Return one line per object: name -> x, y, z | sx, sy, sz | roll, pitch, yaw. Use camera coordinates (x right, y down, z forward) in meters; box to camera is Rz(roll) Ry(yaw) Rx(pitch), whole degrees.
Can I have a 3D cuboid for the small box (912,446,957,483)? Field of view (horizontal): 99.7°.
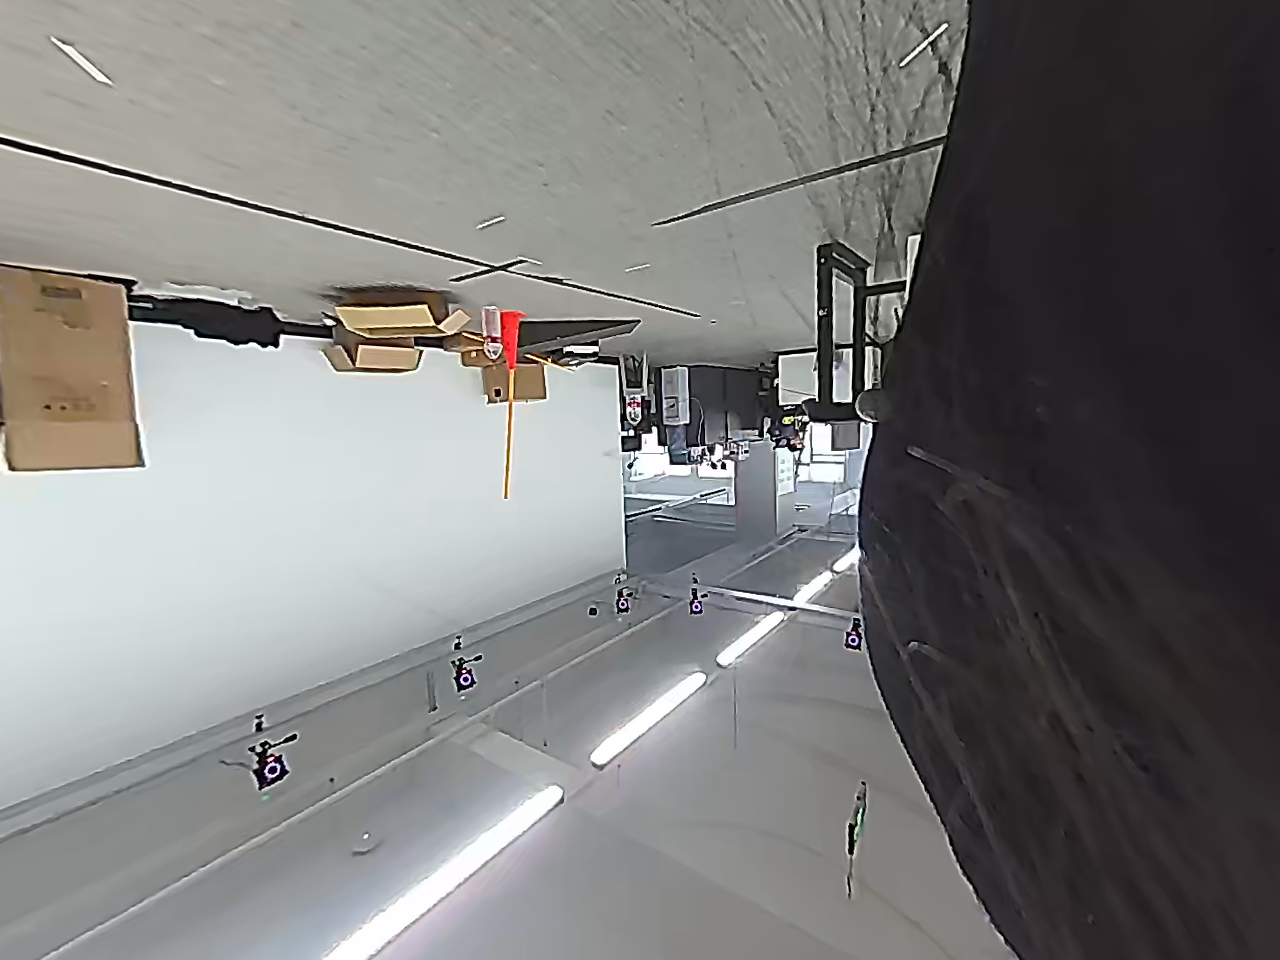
small box -> 1.347, -0.079, 2.474 | 0.179, 0.176, 0.168 | 1, -173, 31
